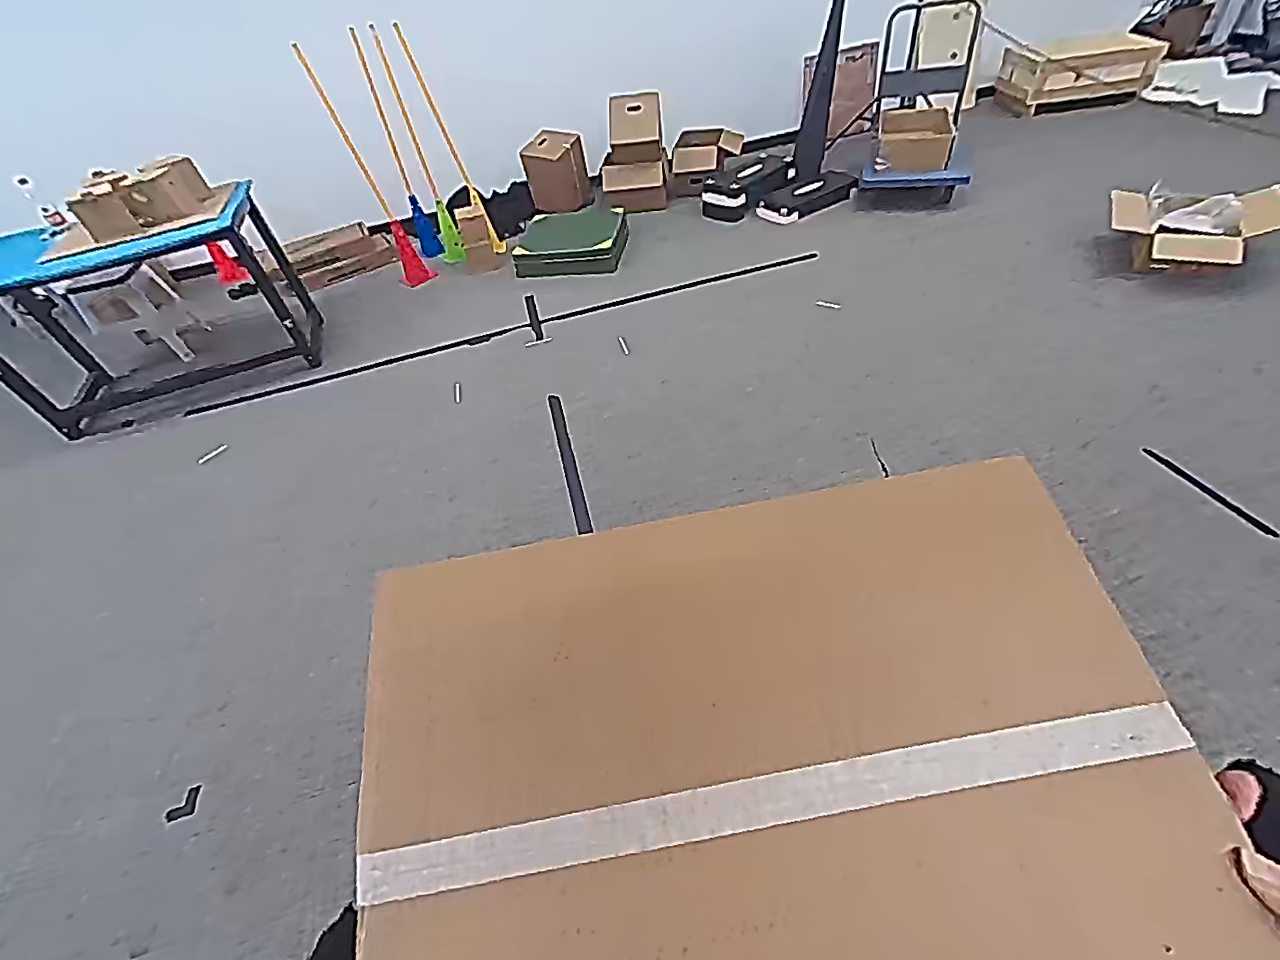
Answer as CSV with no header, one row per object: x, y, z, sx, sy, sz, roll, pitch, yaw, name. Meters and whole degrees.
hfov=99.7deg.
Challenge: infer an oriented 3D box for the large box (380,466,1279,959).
0.077,0.229,0.406,0.408,0.320,0.320,-11,63,0,large box
